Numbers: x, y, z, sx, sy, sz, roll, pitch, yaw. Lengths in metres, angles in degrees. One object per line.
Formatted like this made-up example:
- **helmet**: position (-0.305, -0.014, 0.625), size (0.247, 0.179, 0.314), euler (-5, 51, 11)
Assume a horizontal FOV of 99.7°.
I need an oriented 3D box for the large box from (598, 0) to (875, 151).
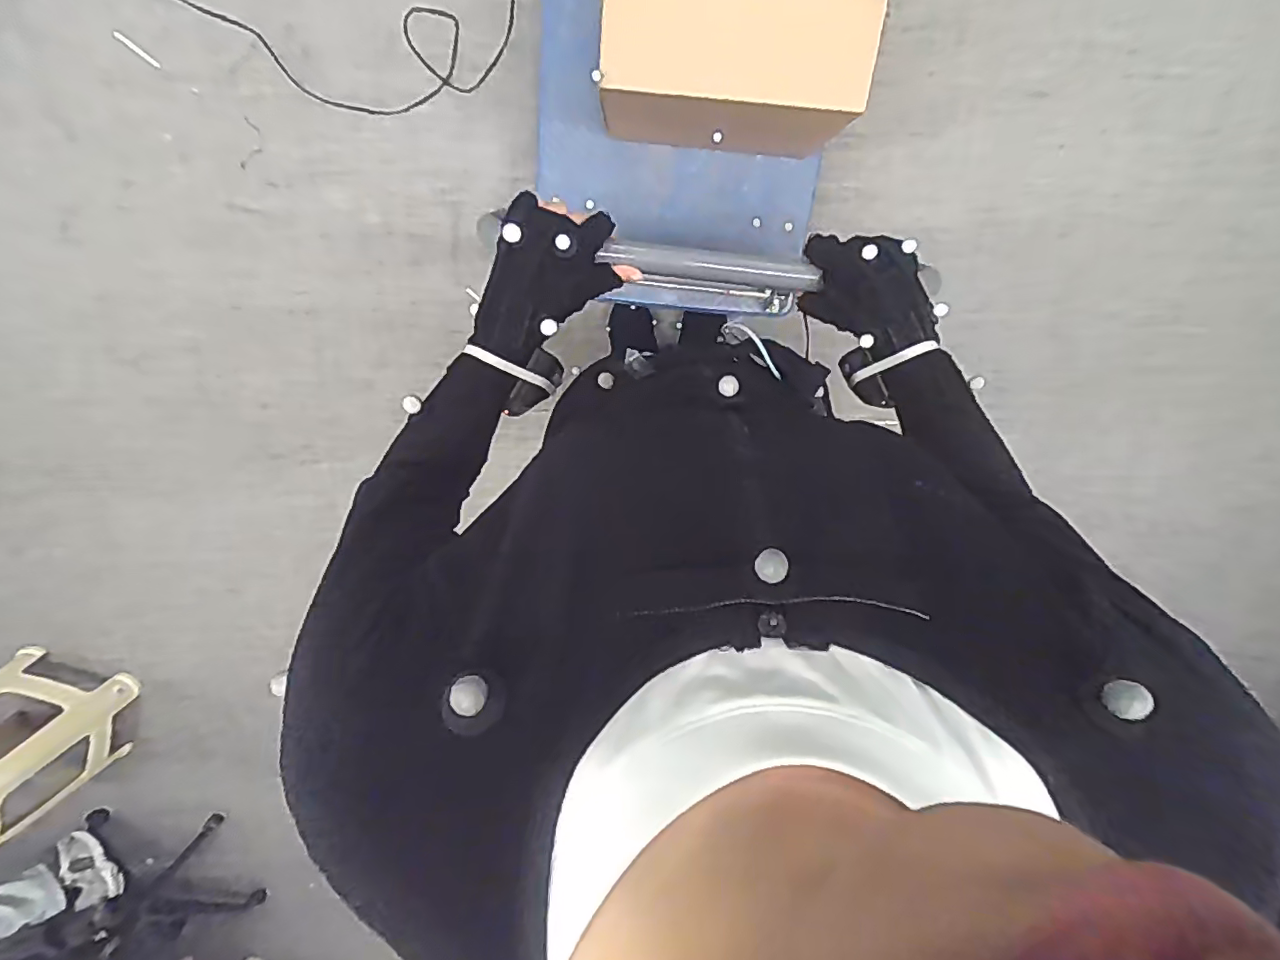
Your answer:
- **large box**: position (0.147, -0.770, 0.910), size (0.408, 0.320, 0.320), euler (4, 109, -1)
